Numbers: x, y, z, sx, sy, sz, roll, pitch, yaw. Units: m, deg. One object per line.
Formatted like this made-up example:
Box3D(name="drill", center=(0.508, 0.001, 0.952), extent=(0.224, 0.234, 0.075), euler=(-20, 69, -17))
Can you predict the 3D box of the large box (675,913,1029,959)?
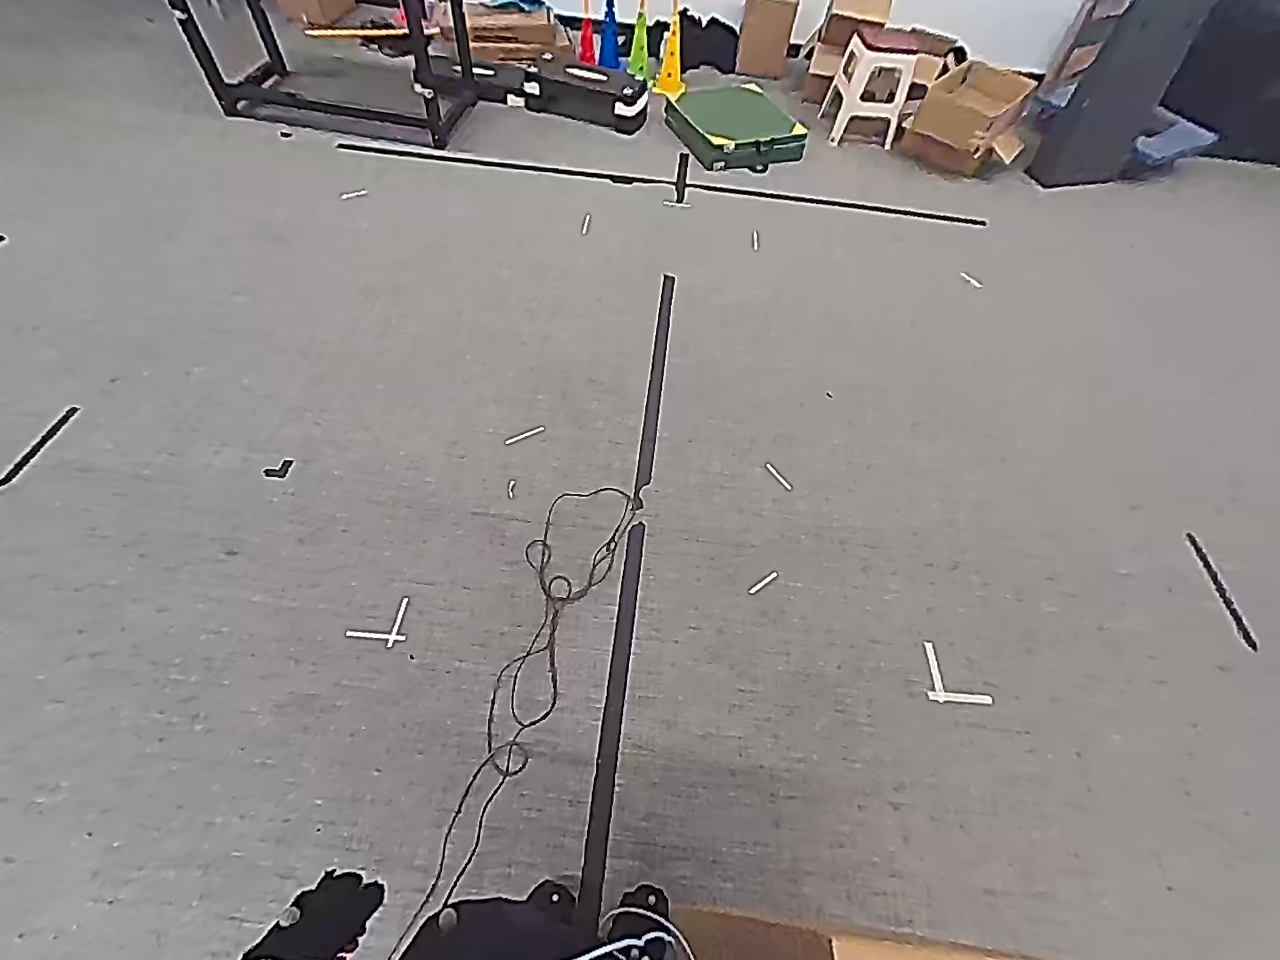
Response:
Box3D(name="large box", center=(0.258, 0.759, 0.670), extent=(0.320, 0.408, 0.320), euler=(18, 51, -12))
